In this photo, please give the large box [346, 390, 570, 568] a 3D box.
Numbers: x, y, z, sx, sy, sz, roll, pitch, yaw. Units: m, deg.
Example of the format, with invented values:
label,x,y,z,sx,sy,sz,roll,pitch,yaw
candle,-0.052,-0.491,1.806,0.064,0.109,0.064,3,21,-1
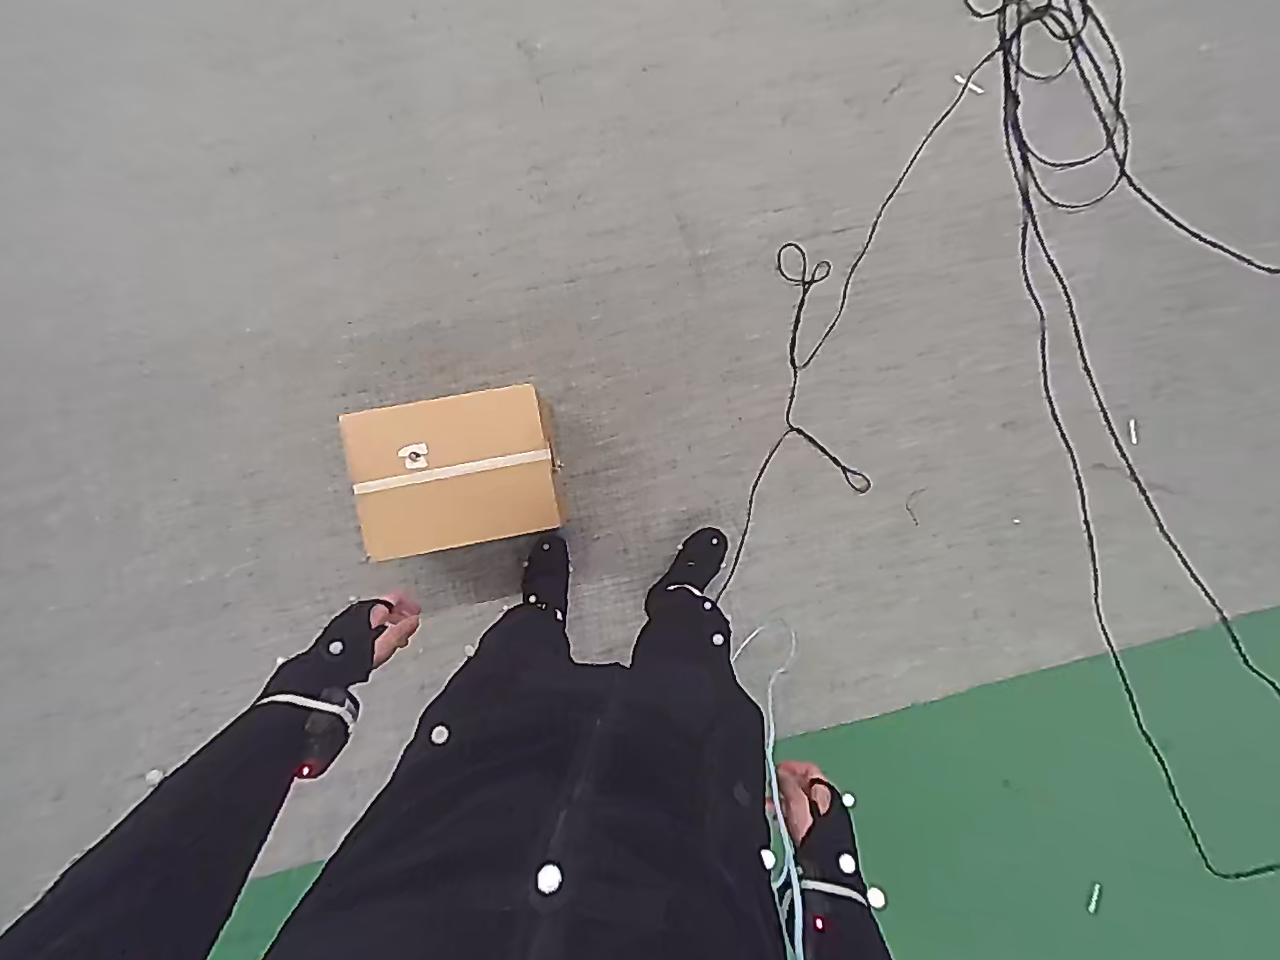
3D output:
label,x,y,z,sx,sy,sz,roll,pitch,yaw
large box,-0.399,-0.005,1.286,0.408,0.320,0.320,-11,90,-3
